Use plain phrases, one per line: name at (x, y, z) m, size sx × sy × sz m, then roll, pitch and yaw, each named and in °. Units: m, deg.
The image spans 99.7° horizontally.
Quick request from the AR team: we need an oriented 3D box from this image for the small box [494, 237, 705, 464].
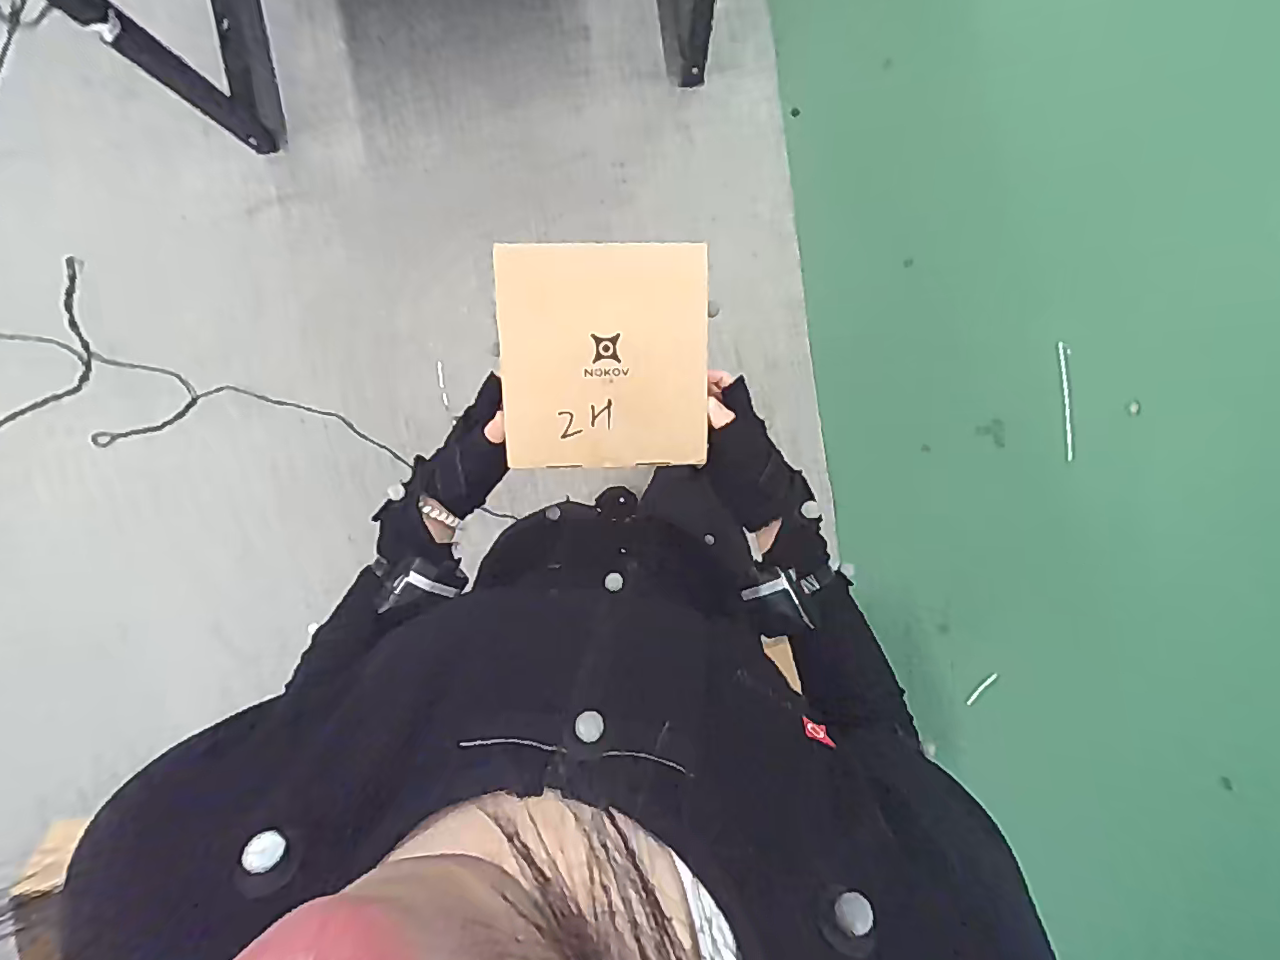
small box at (-0.036, -0.114, 0.507) m, size 0.168 × 0.176 × 0.179 m, roll -2°, pitch 101°, yaw -3°
